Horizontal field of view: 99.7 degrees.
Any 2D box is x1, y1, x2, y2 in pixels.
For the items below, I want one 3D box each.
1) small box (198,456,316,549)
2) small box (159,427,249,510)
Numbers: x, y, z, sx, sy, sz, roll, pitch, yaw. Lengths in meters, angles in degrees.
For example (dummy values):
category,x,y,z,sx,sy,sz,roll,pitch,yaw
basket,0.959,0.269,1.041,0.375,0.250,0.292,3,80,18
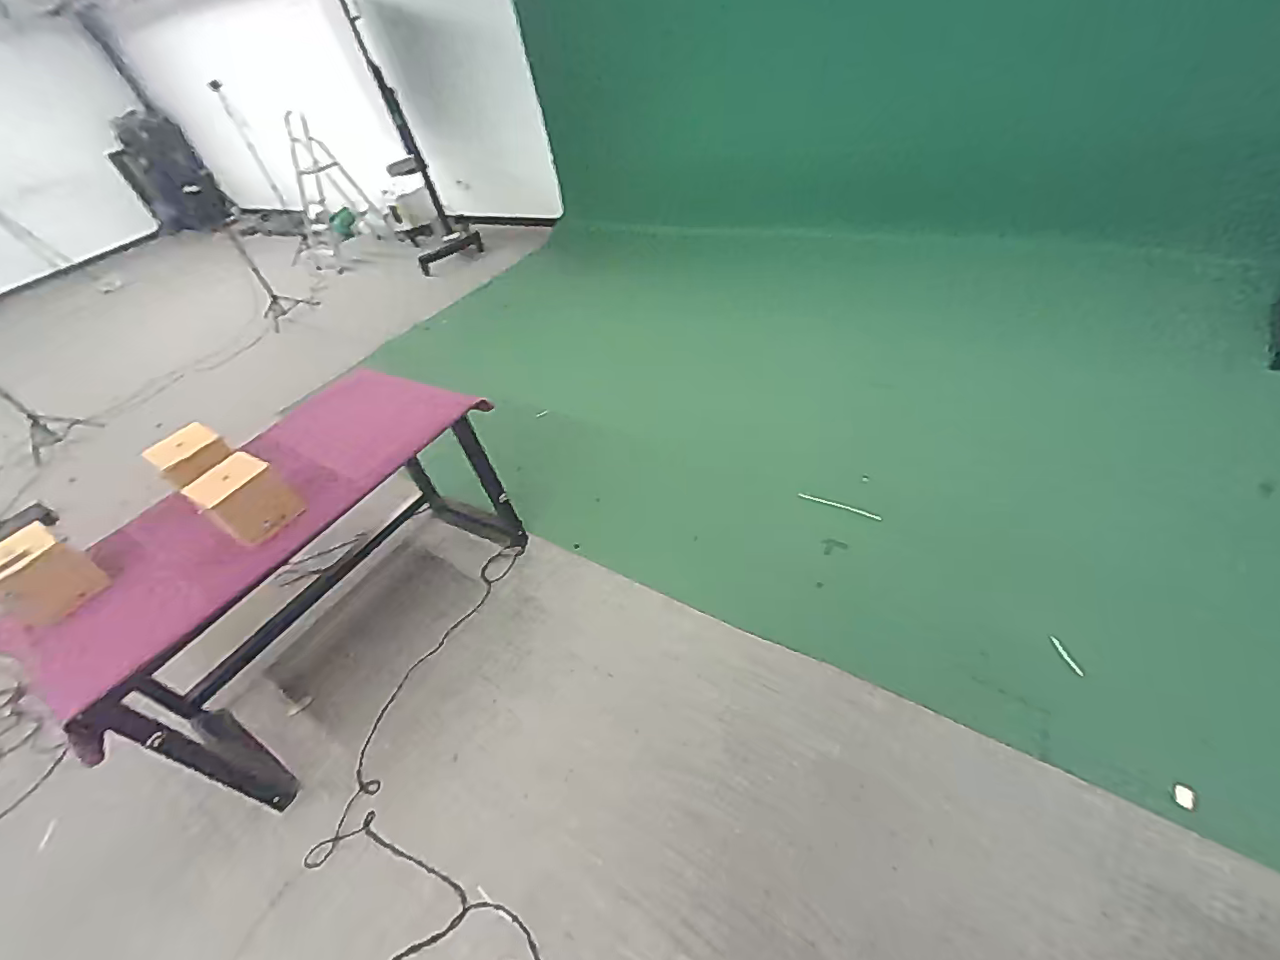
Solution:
category,x,y,z,sx,sy,sz,roll,pitch,yaw
small box,-1.038,0.062,1.476,0.179,0.176,0.168,17,53,31
small box,-1.298,-0.032,1.650,0.179,0.176,0.168,21,54,30
